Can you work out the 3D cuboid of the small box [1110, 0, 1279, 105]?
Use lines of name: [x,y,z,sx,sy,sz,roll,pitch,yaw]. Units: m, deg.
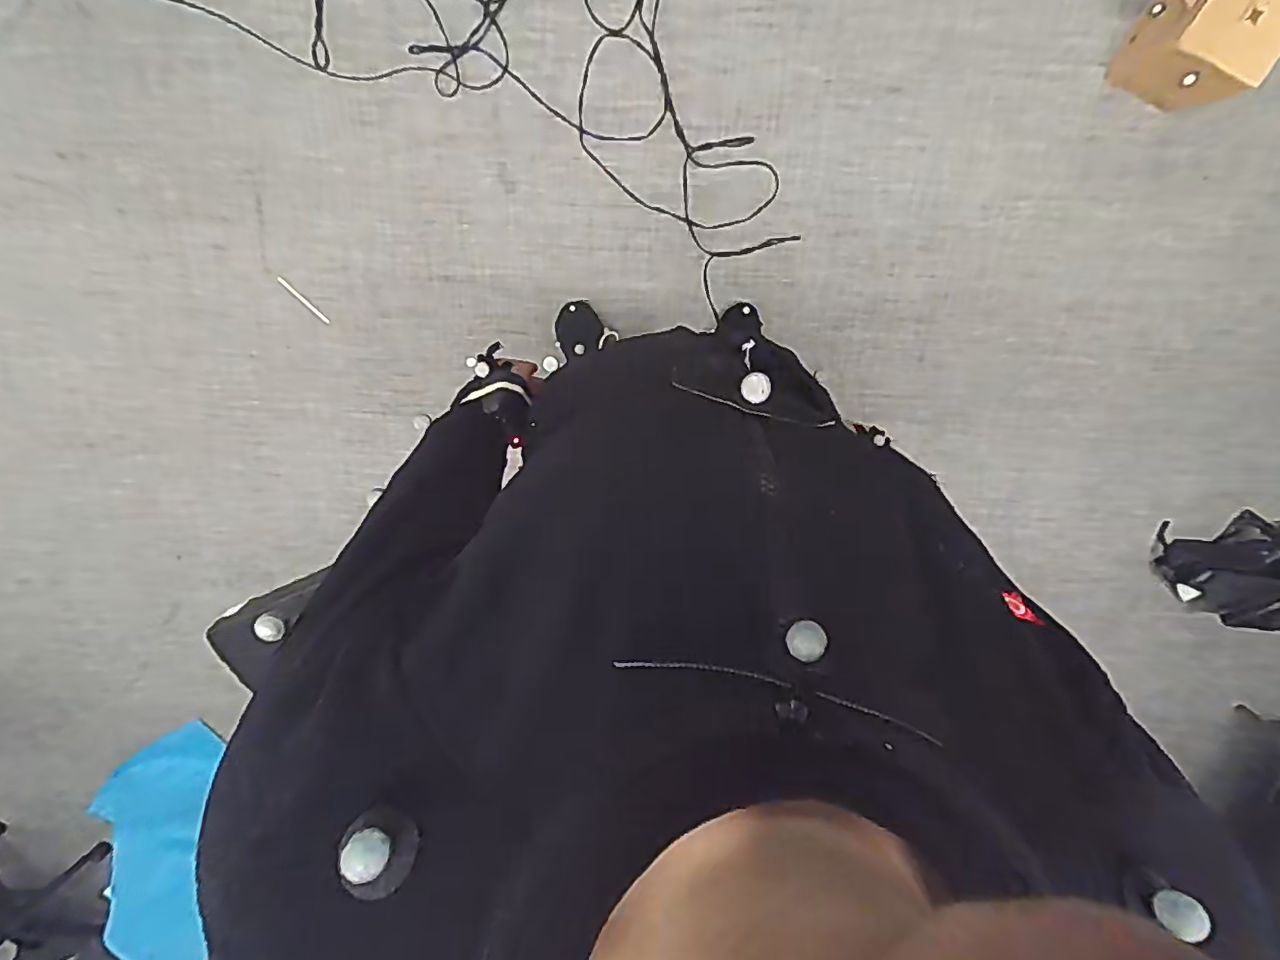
small box: [1.037,-0.819,0.984,0.179,0.176,0.168,21,110,-6]
